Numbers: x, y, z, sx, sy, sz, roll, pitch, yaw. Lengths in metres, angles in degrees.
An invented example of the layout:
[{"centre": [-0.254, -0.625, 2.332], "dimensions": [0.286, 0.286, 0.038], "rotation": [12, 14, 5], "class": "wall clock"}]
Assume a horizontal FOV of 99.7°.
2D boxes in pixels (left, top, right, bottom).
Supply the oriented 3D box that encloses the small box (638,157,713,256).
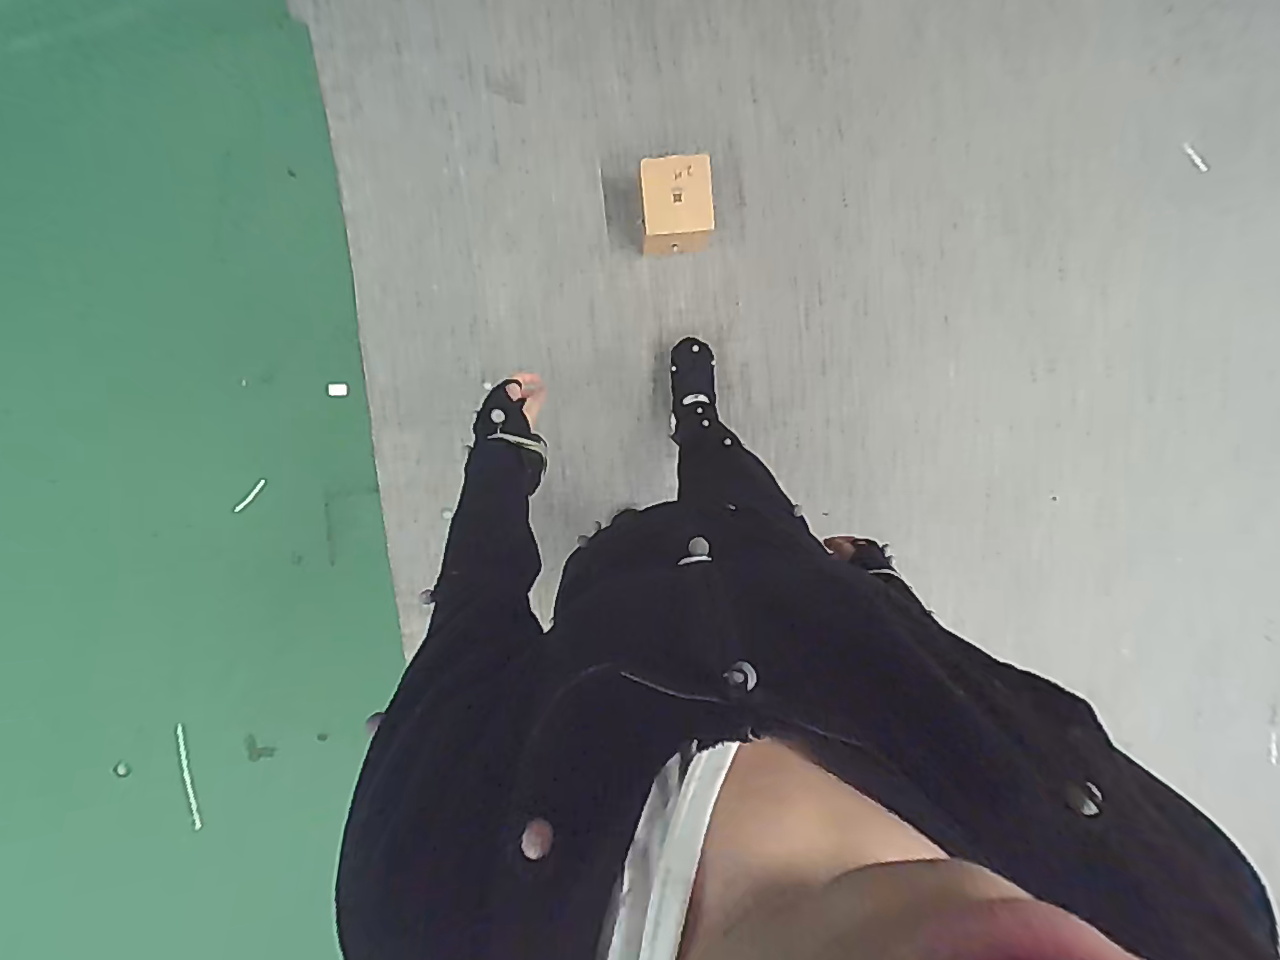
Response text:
[{"centre": [0.085, -0.671, 1.347], "dimensions": [0.168, 0.176, 0.179], "rotation": [-5, 96, -2], "class": "small box"}]
